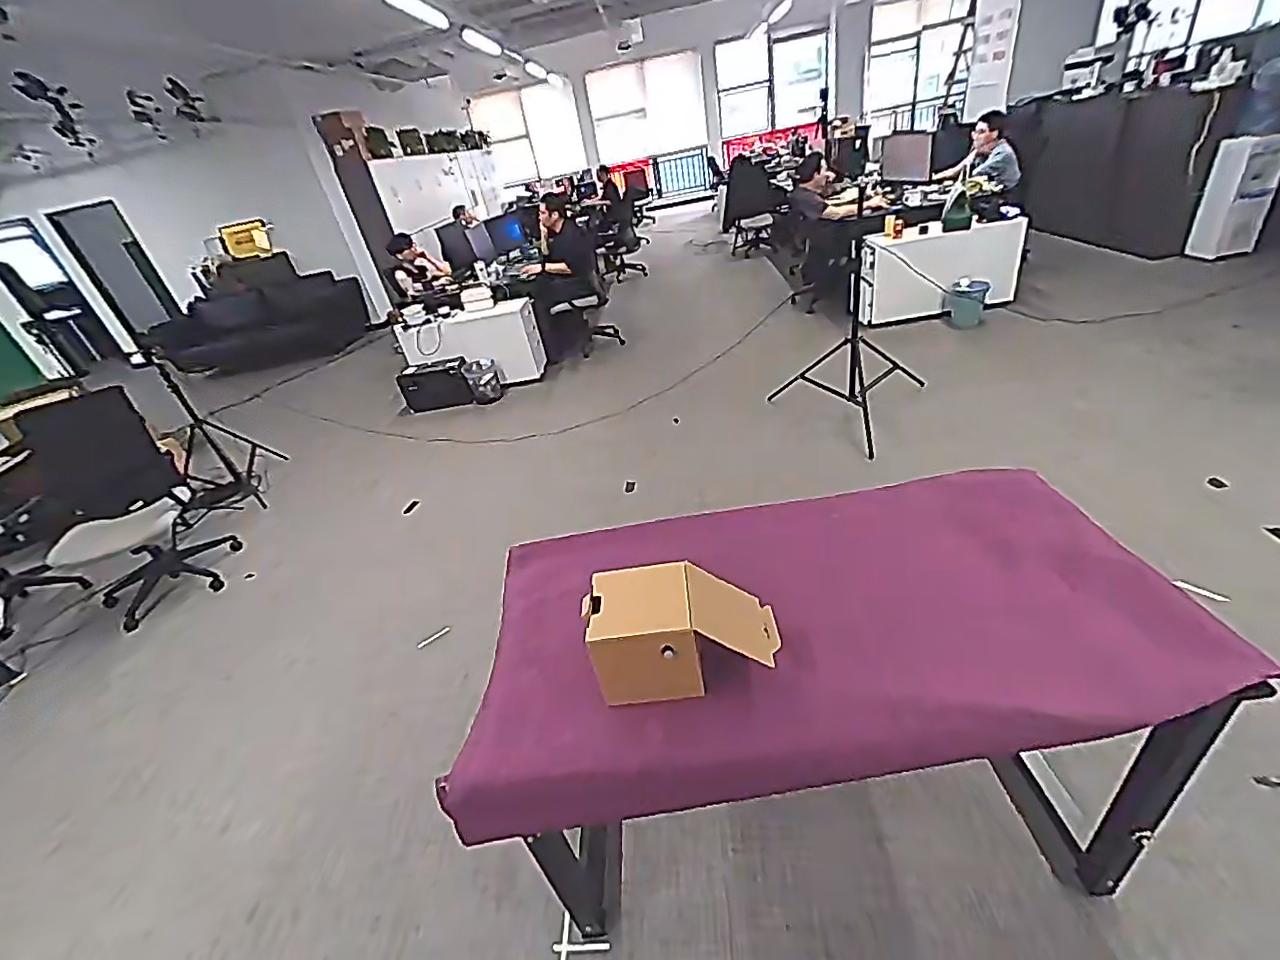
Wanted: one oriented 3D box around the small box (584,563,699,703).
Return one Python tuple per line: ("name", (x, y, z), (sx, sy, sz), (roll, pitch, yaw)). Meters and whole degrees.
("small box", (0.011, 0.273, 0.967), (0.179, 0.176, 0.168), (-9, 31, 6))
